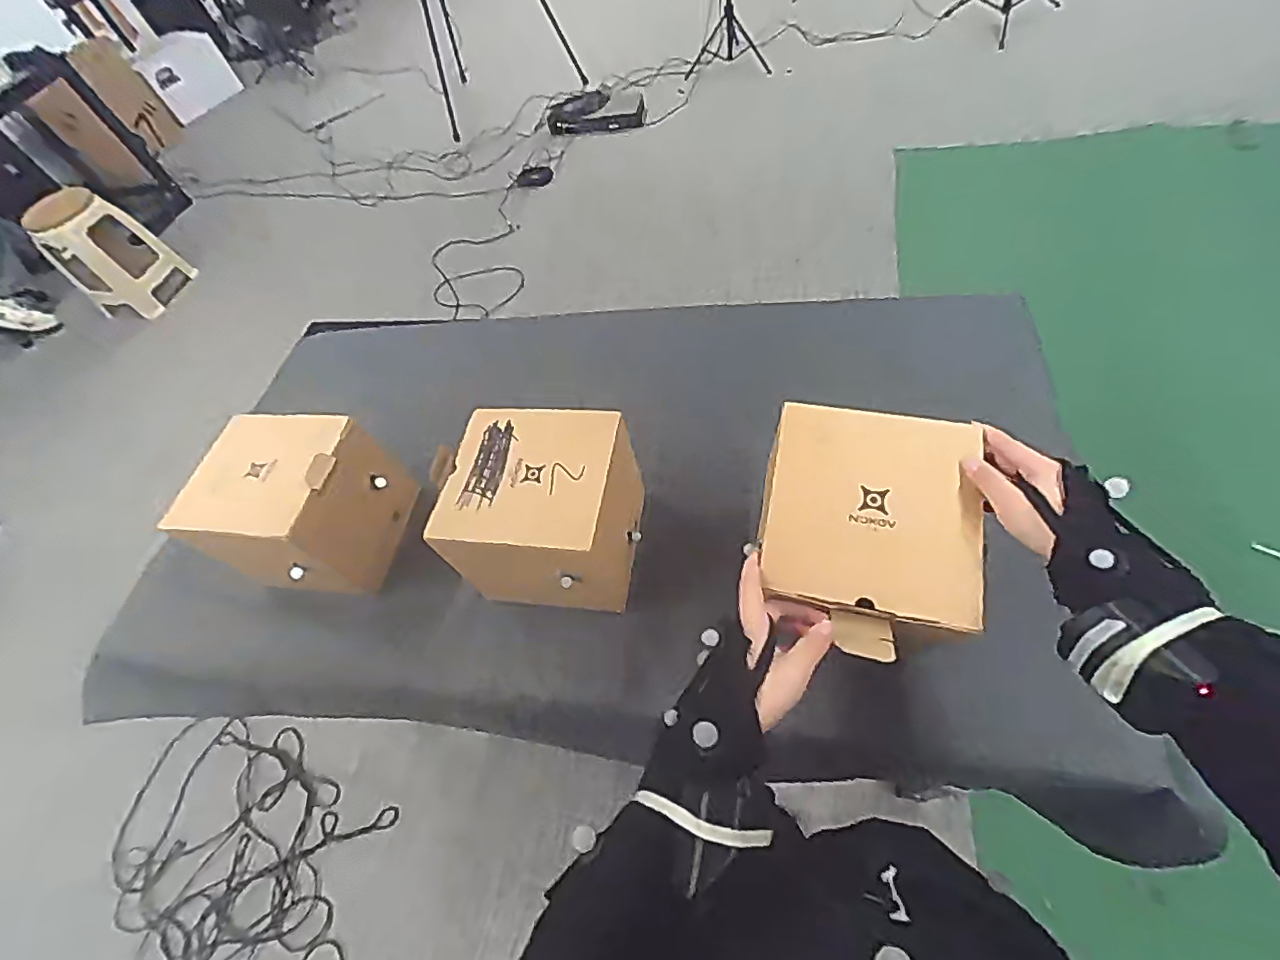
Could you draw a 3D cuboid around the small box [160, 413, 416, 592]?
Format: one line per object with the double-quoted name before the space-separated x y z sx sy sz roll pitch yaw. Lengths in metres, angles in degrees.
"small box" -0.419 0.032 0.682 0.179 0.176 0.168 1 56 13
